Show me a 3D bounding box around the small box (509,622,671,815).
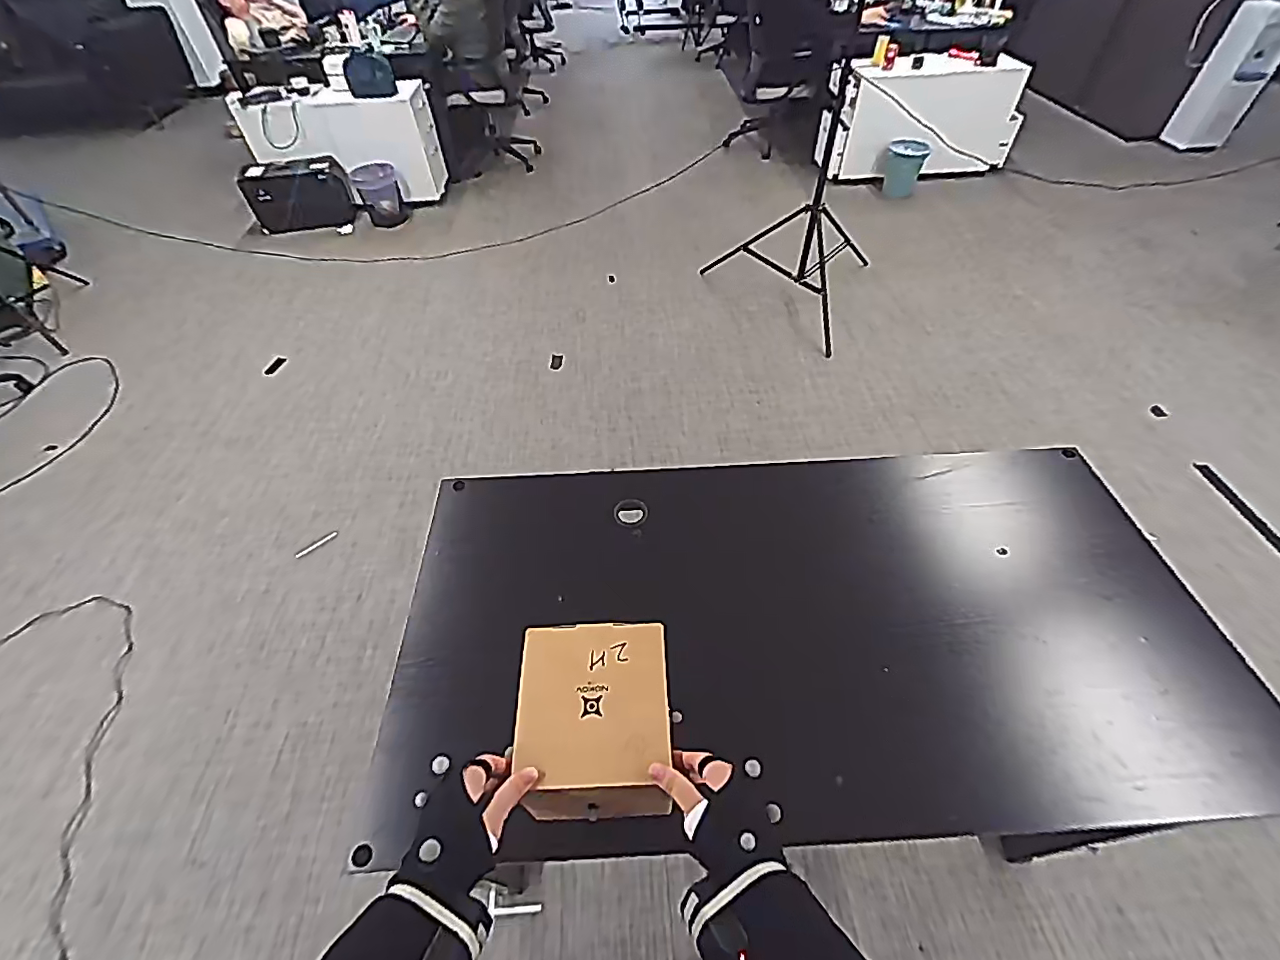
[{"bbox_3d":[-0.050,0.293,0.654,0.168,0.176,0.179,-3,49,0],"label":"small box"}]
